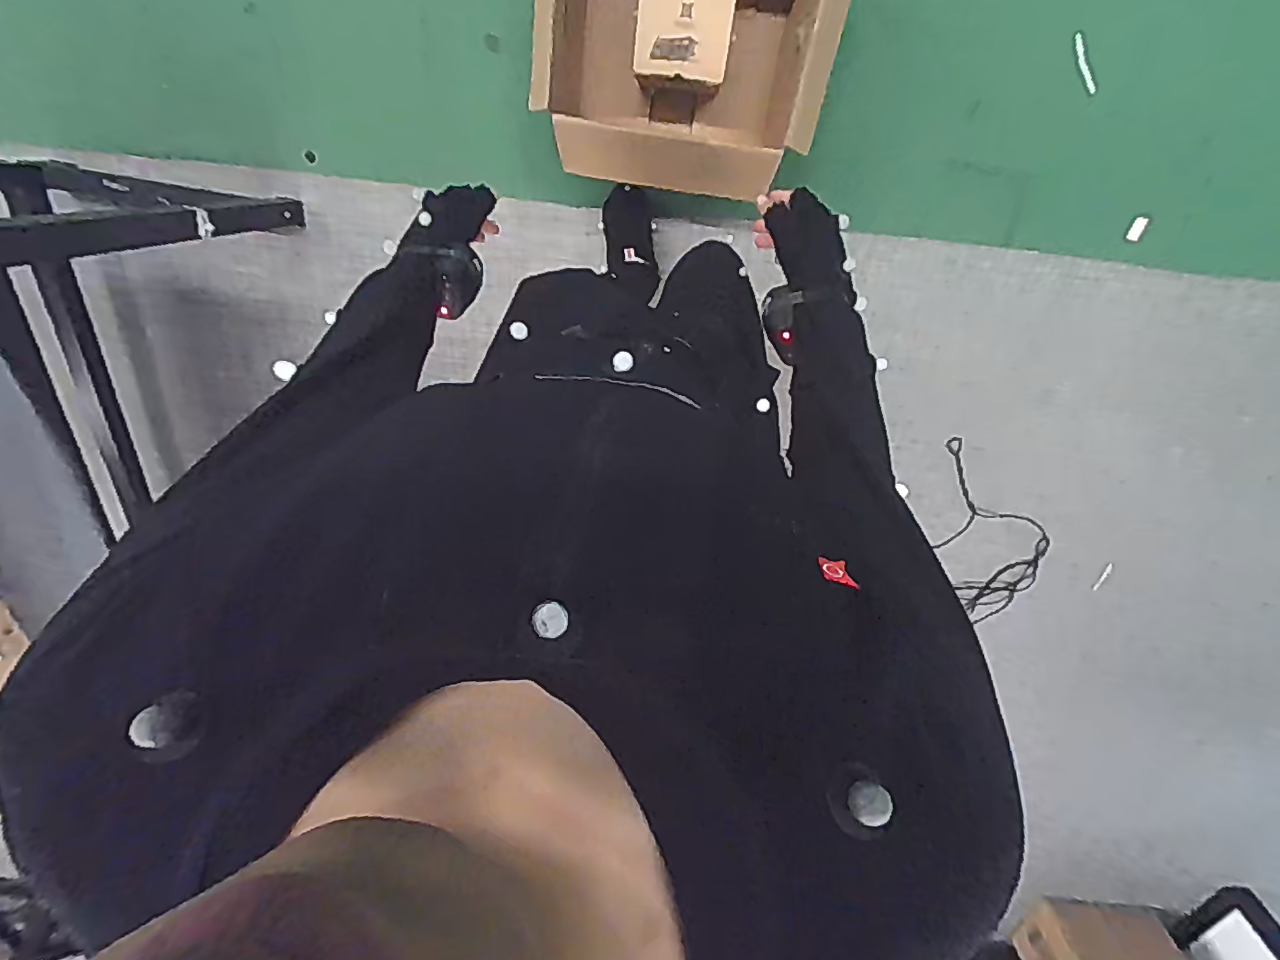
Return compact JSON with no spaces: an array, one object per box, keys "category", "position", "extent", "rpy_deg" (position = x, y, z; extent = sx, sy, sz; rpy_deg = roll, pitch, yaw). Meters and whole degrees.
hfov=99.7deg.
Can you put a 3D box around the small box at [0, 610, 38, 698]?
[{"category":"small box","position":[-1.192,0.316,0.893],"extent":[0.179,0.176,0.168],"rpy_deg":[5,120,0]}]
